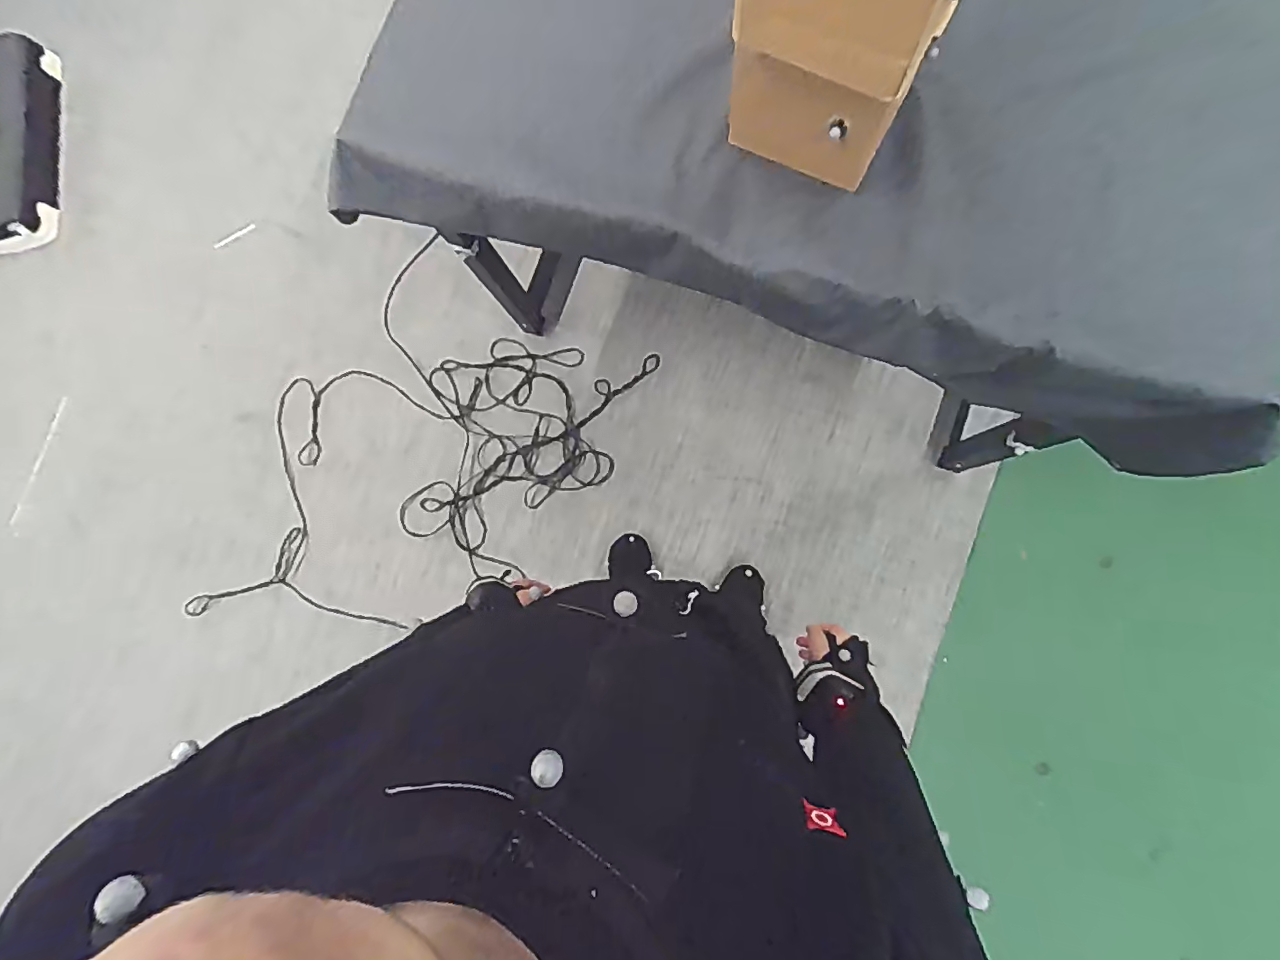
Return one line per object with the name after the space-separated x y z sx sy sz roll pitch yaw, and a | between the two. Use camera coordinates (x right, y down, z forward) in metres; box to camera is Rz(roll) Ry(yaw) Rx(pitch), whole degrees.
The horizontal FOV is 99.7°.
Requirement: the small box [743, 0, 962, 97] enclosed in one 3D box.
0.200 -0.471 0.447 0.179 0.176 0.168 29 86 8 | small box

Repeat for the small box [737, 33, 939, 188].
0.225 -0.470 0.609 0.179 0.176 0.168 27 86 10 | small box
